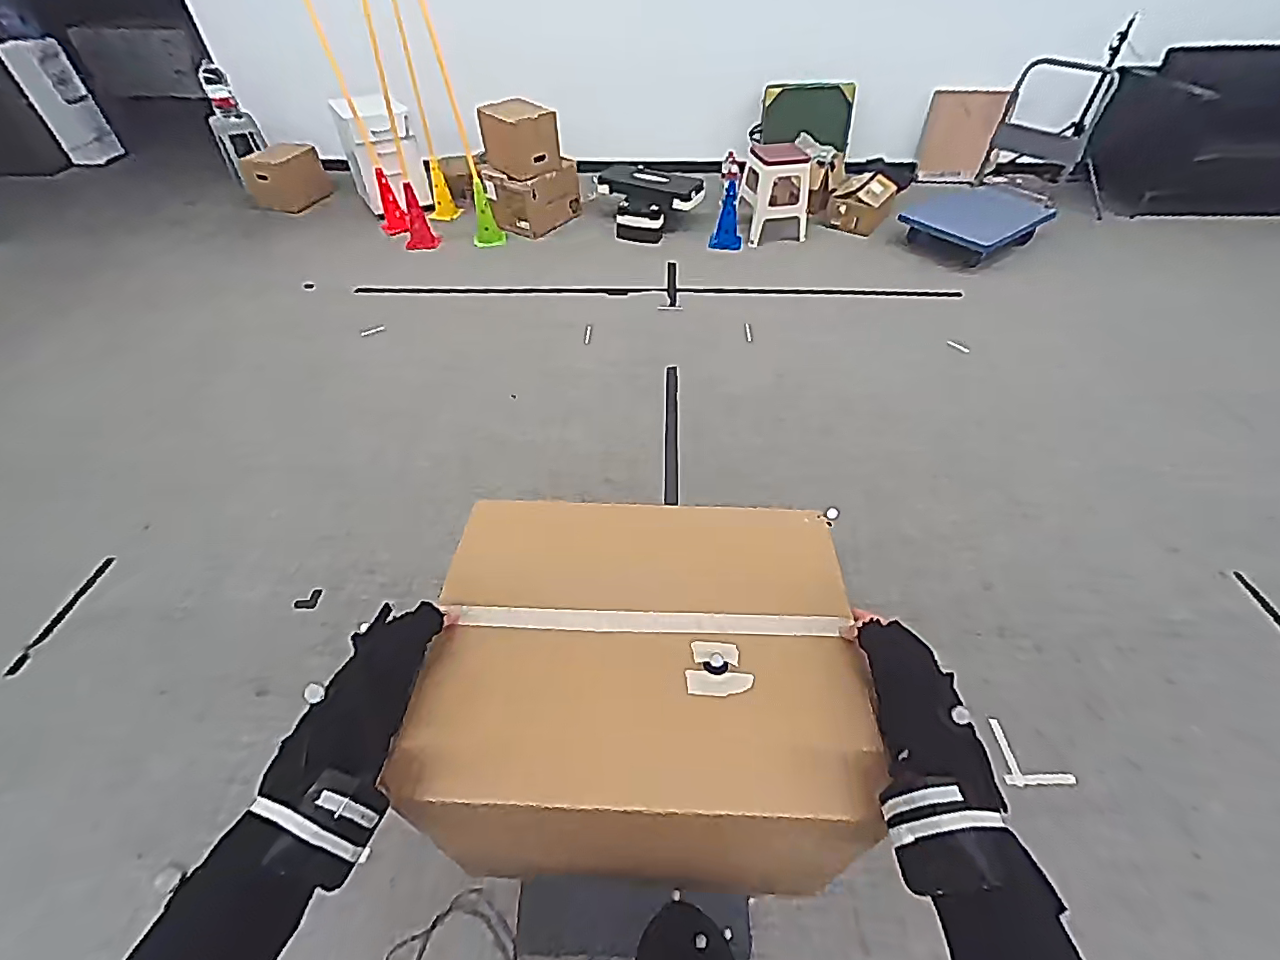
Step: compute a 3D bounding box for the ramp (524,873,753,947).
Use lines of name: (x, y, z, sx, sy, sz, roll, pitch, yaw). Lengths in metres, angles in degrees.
ramp: (0.008, 0.552, 1.397, 0.509, 0.206, 0.991, 0, 47, -1)

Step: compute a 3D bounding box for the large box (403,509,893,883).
large box: (0.008, 0.252, 0.639, 0.408, 0.320, 0.320, 2, 44, 2)
